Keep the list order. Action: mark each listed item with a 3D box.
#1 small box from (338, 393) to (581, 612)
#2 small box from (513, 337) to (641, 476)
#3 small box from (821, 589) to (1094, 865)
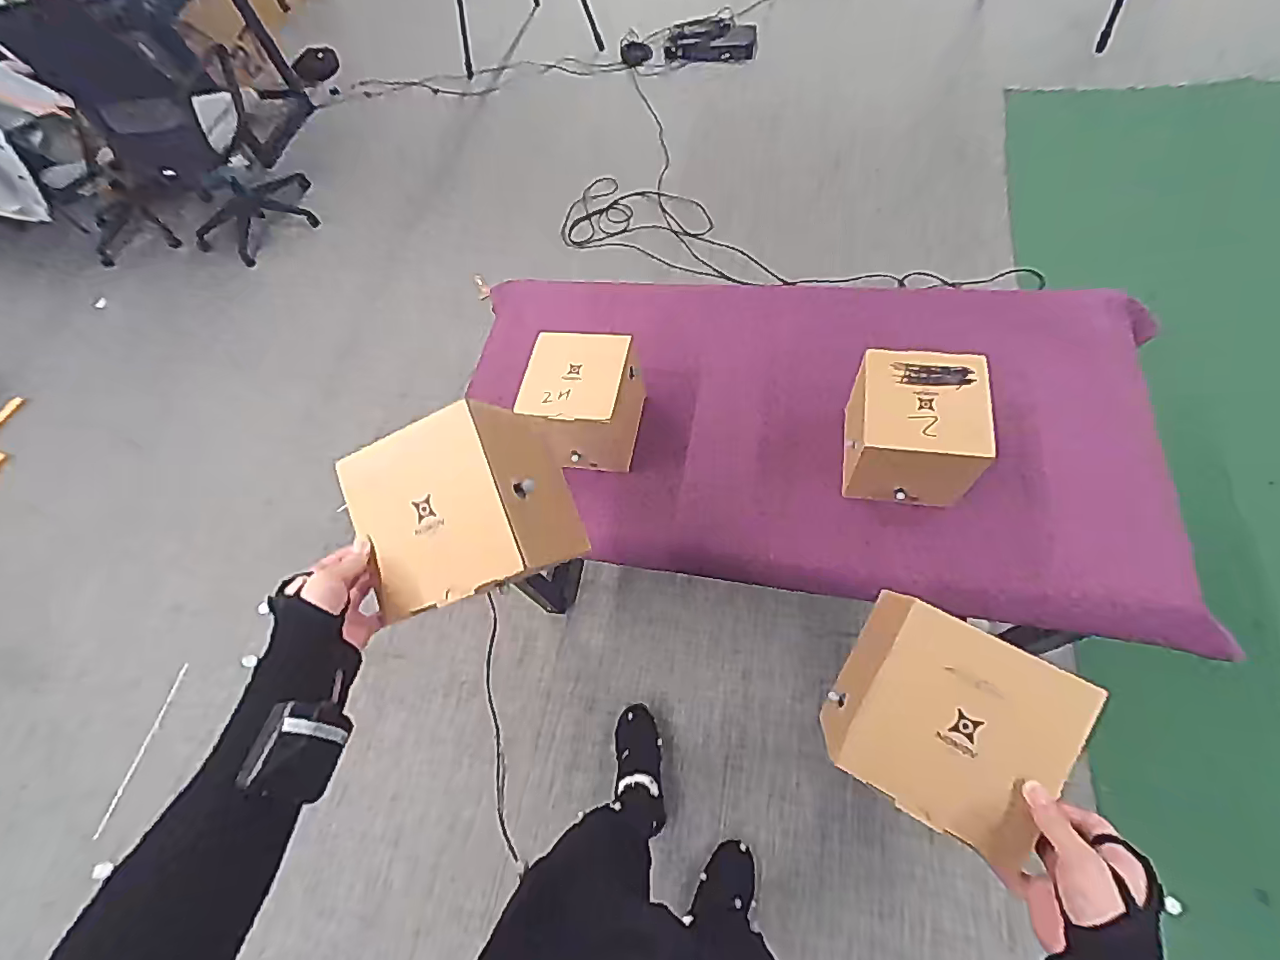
[{"bbox_3d":[-0.189,0.026,0.606,0.168,0.176,0.179,-23,84,13],"label":"small box"},{"bbox_3d":[-0.099,-0.128,0.956,0.168,0.176,0.179,5,63,13],"label":"small box"},{"bbox_3d":[0.300,0.227,0.556,0.168,0.176,0.179,27,89,17],"label":"small box"}]
